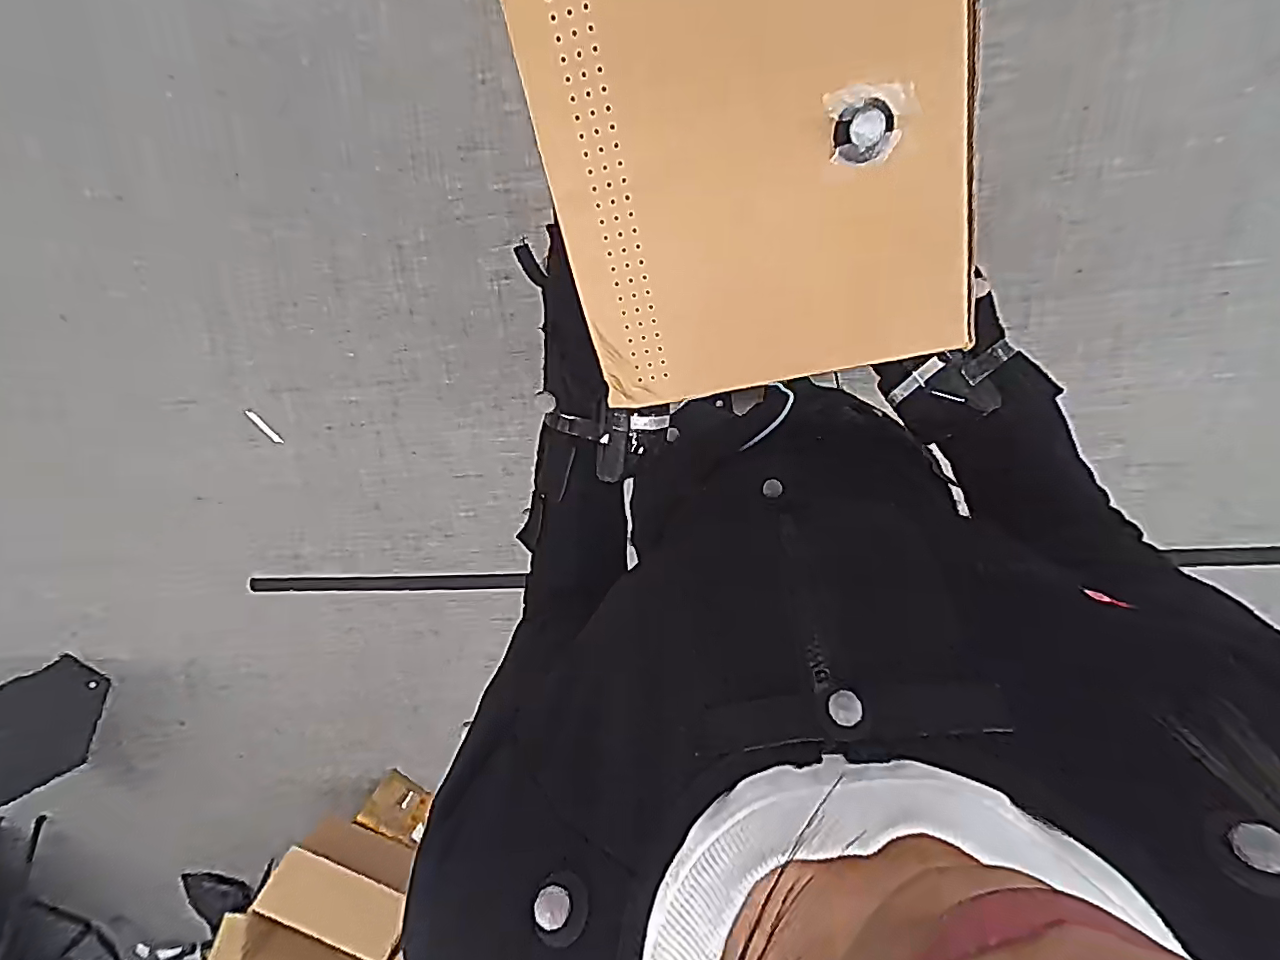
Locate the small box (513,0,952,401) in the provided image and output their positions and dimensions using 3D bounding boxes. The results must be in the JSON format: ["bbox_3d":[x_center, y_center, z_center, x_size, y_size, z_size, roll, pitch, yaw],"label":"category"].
[{"bbox_3d":[0.049,-0.161,0.300,0.176,0.168,0.179,-9,115,12],"label":"small box"}]
